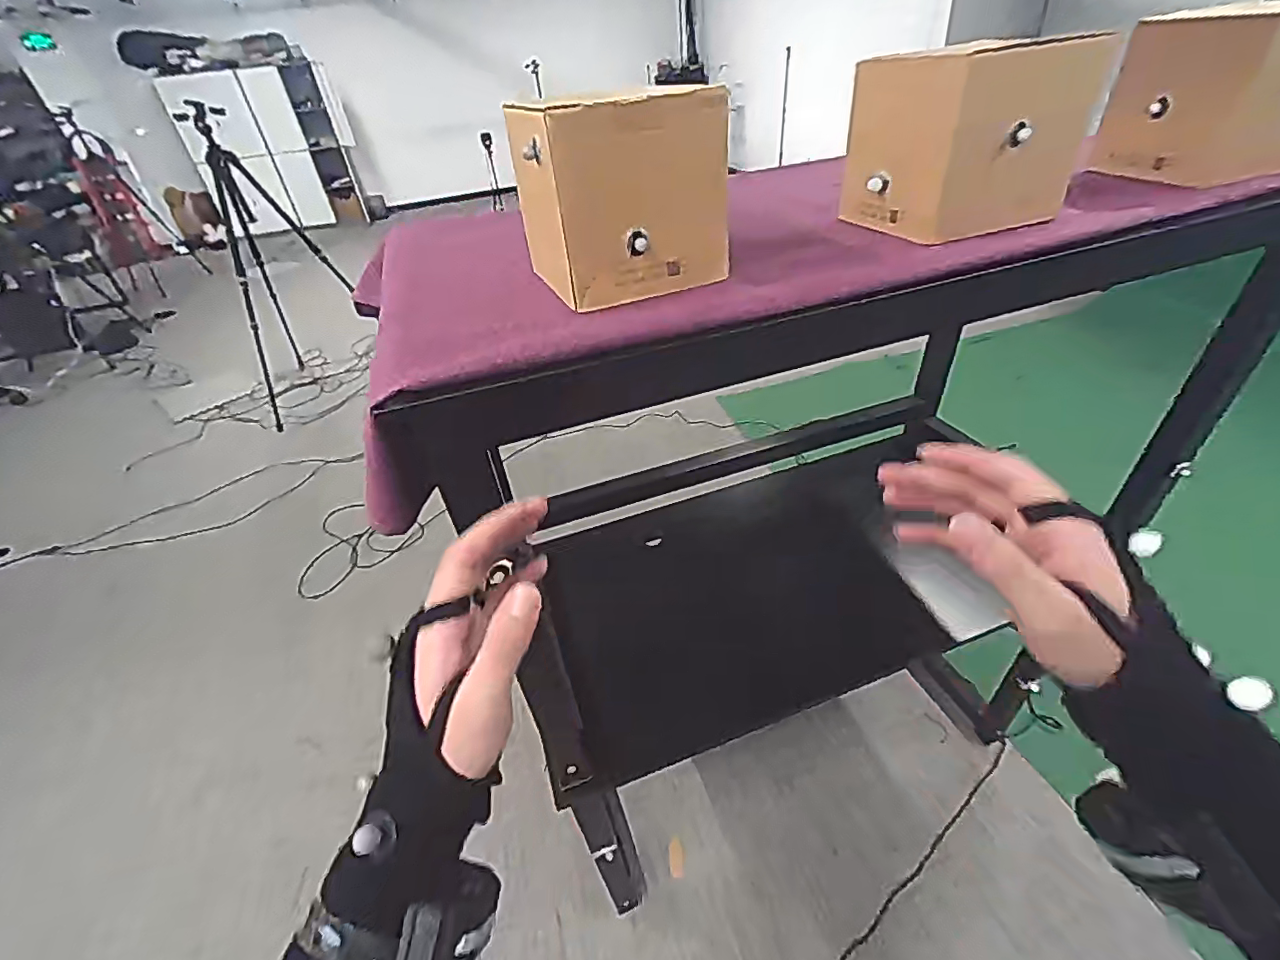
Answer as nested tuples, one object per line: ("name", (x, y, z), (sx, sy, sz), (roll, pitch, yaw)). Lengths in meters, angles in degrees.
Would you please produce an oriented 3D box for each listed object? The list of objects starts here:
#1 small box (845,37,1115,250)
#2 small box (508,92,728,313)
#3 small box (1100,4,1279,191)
("small box", (0.356, -0.376, 0.607), (0.179, 0.176, 0.168), (-16, 38, -10))
("small box", (-0.024, -0.288, 0.557), (0.168, 0.176, 0.179), (-18, 39, -15))
("small box", (0.728, -0.474, 0.671), (0.179, 0.176, 0.168), (-13, 40, -7))
